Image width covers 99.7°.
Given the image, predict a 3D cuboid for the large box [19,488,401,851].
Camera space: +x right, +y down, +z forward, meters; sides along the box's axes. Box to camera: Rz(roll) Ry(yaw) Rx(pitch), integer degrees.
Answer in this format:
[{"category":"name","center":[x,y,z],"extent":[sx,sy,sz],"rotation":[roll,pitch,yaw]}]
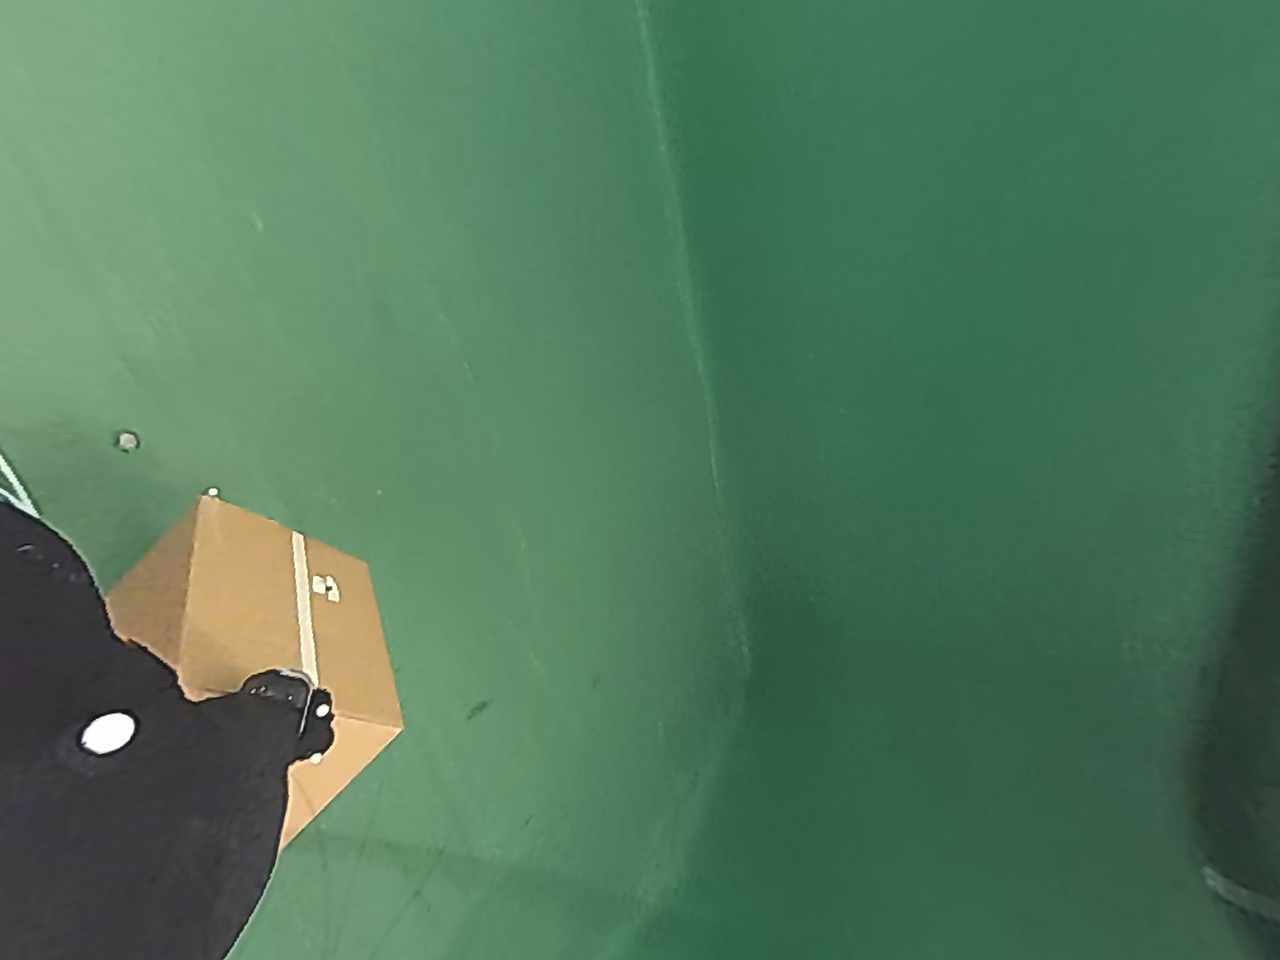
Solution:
[{"category":"large box","center":[-0.649,0.292,0.864],"extent":[0.320,0.408,0.320],"rotation":[-45,136,1]}]
